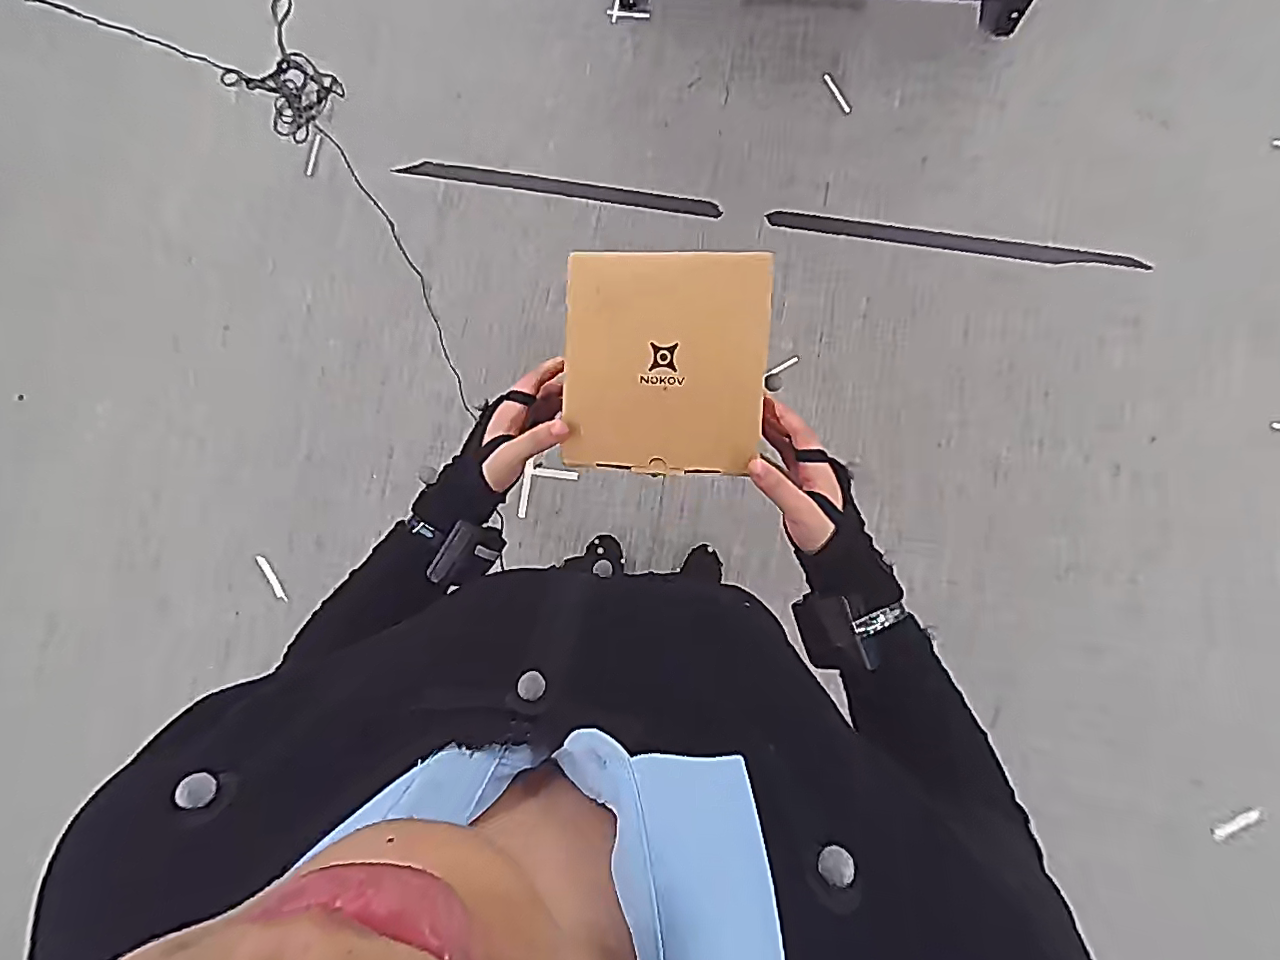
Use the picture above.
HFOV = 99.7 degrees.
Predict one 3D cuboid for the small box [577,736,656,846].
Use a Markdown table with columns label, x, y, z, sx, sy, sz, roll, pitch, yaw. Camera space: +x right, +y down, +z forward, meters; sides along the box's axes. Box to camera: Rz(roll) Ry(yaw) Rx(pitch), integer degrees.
| label | x | y | z | sx | sy | sz | roll | pitch | yaw |
| --- | --- | --- | --- | --- | --- | --- | --- | --- | --- |
| small box | -0.053 | 0.767 | 1.353 | 0.168 | 0.176 | 0.179 | 8 | 84 | 5 |

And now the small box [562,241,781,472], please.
| label | x | y | z | sx | sy | sz | roll | pitch | yaw |
| --- | --- | --- | --- | --- | --- | --- | --- | --- | --- |
| small box | 0.031 | -0.103 | 0.506 | 0.168 | 0.176 | 0.179 | 4 | 95 | 7 |
